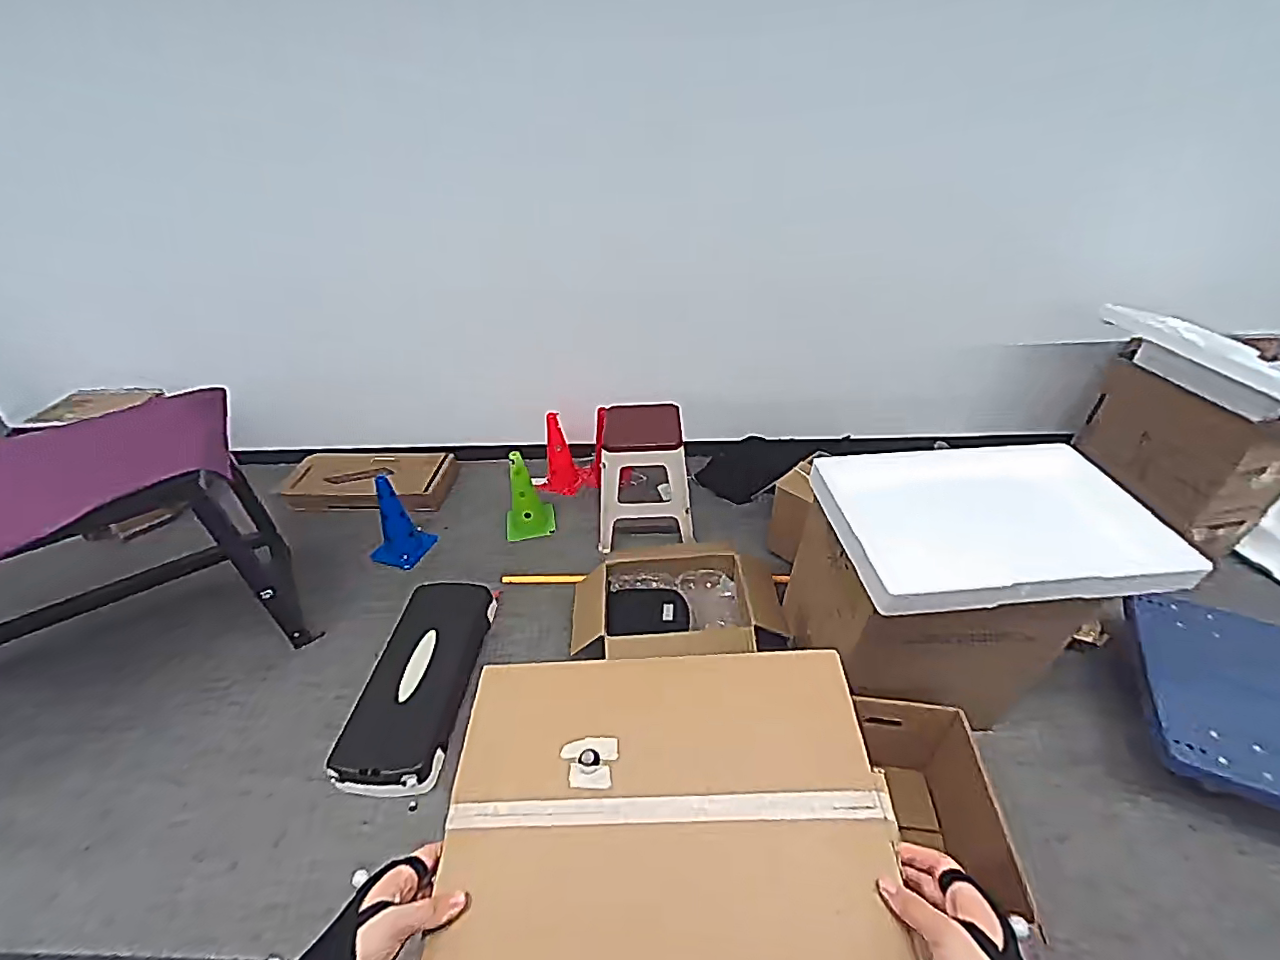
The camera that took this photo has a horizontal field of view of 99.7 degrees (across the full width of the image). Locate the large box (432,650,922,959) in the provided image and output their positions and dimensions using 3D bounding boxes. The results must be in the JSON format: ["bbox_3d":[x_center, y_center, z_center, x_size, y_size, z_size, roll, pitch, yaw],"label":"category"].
[{"bbox_3d":[0.042,0.424,0.612,0.408,0.320,0.320,-6,42,6],"label":"large box"}]
